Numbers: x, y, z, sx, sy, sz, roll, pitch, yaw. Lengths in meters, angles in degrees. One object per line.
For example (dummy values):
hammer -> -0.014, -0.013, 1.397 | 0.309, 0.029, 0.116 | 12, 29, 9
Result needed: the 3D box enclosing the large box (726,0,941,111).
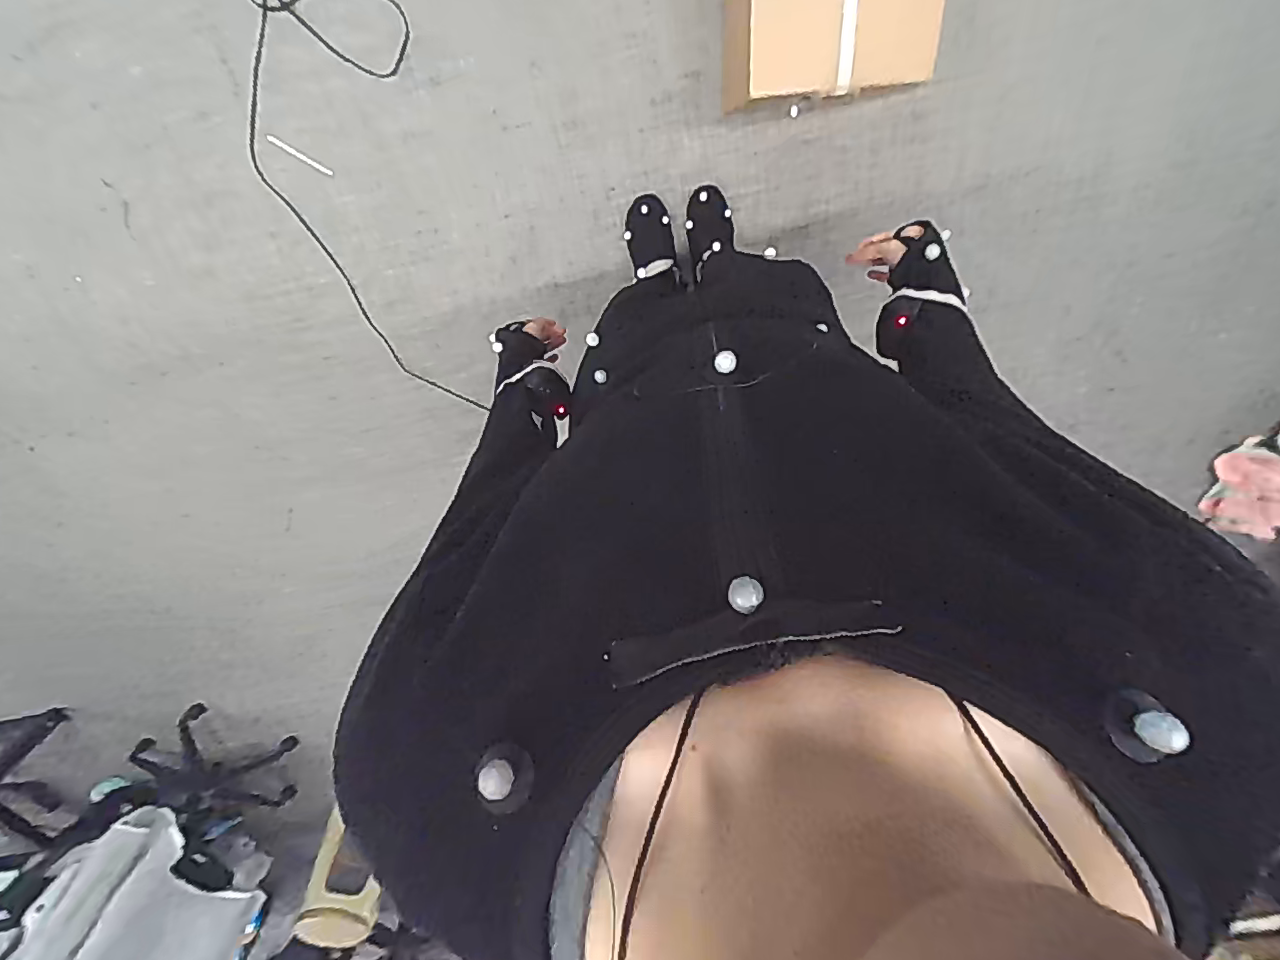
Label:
large box -> 0.323, -0.924, 0.956 | 0.320, 0.320, 0.408 | -5, 119, 2
